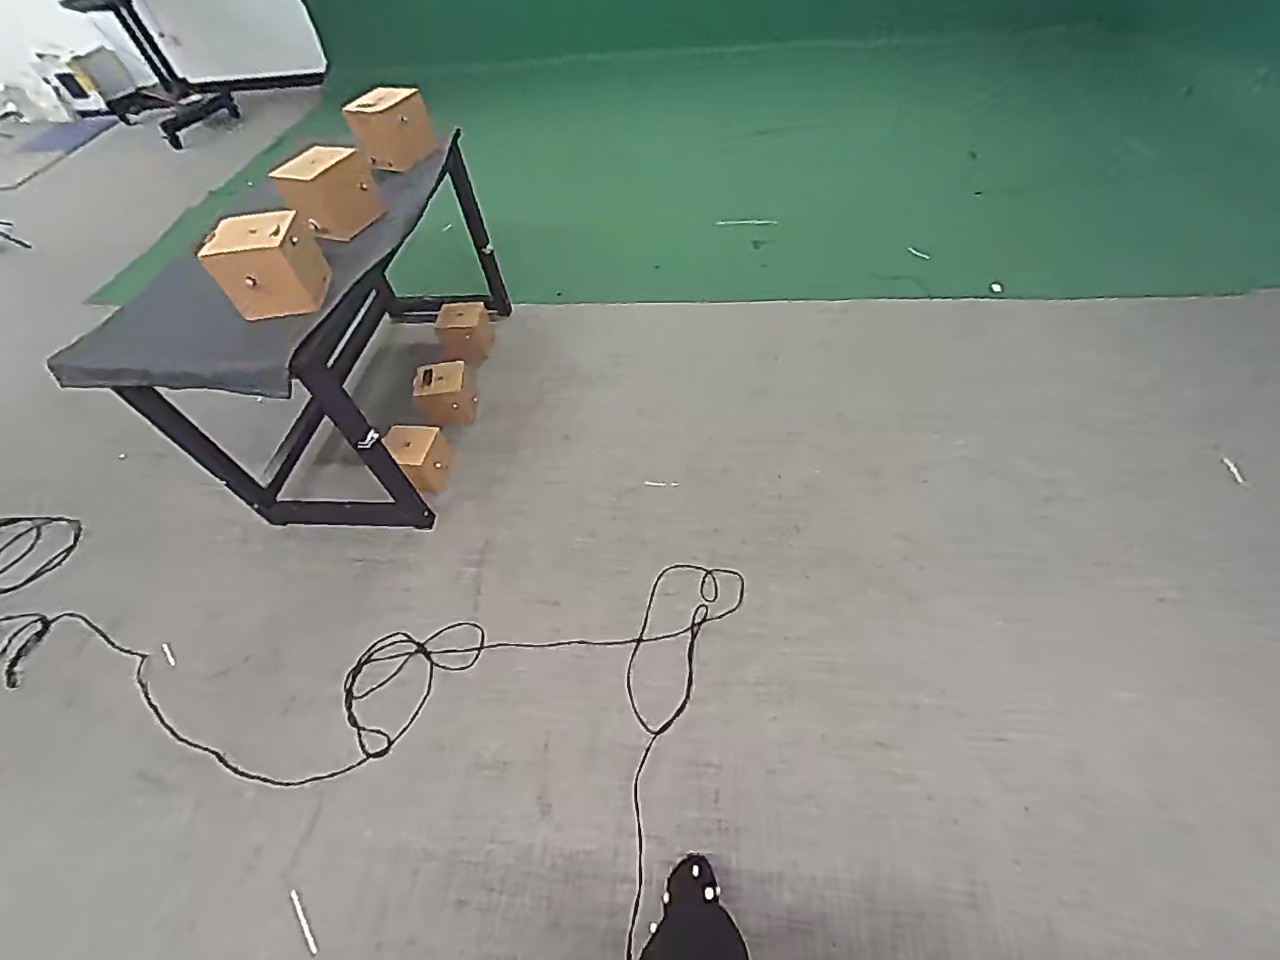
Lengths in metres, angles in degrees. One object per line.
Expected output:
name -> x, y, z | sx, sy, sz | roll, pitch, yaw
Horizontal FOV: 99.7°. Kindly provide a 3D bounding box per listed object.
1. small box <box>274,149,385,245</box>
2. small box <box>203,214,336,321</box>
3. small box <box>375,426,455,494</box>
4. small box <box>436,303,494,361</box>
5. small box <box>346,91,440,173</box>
small box -> -0.835, -0.775, 1.480 | 0.168, 0.176, 0.179 | 16, 58, 21
small box -> -0.859, -0.496, 1.274 | 0.179, 0.176, 0.168 | -9, 53, -1
small box -> -0.763, -0.065, 1.858 | 0.179, 0.176, 0.168 | 5, 54, 9
small box -> -0.722, -0.614, 2.257 | 0.179, 0.176, 0.168 | -3, 53, 4
small box -> -0.769, -1.095, 1.704 | 0.168, 0.176, 0.179 | 18, 58, 21
